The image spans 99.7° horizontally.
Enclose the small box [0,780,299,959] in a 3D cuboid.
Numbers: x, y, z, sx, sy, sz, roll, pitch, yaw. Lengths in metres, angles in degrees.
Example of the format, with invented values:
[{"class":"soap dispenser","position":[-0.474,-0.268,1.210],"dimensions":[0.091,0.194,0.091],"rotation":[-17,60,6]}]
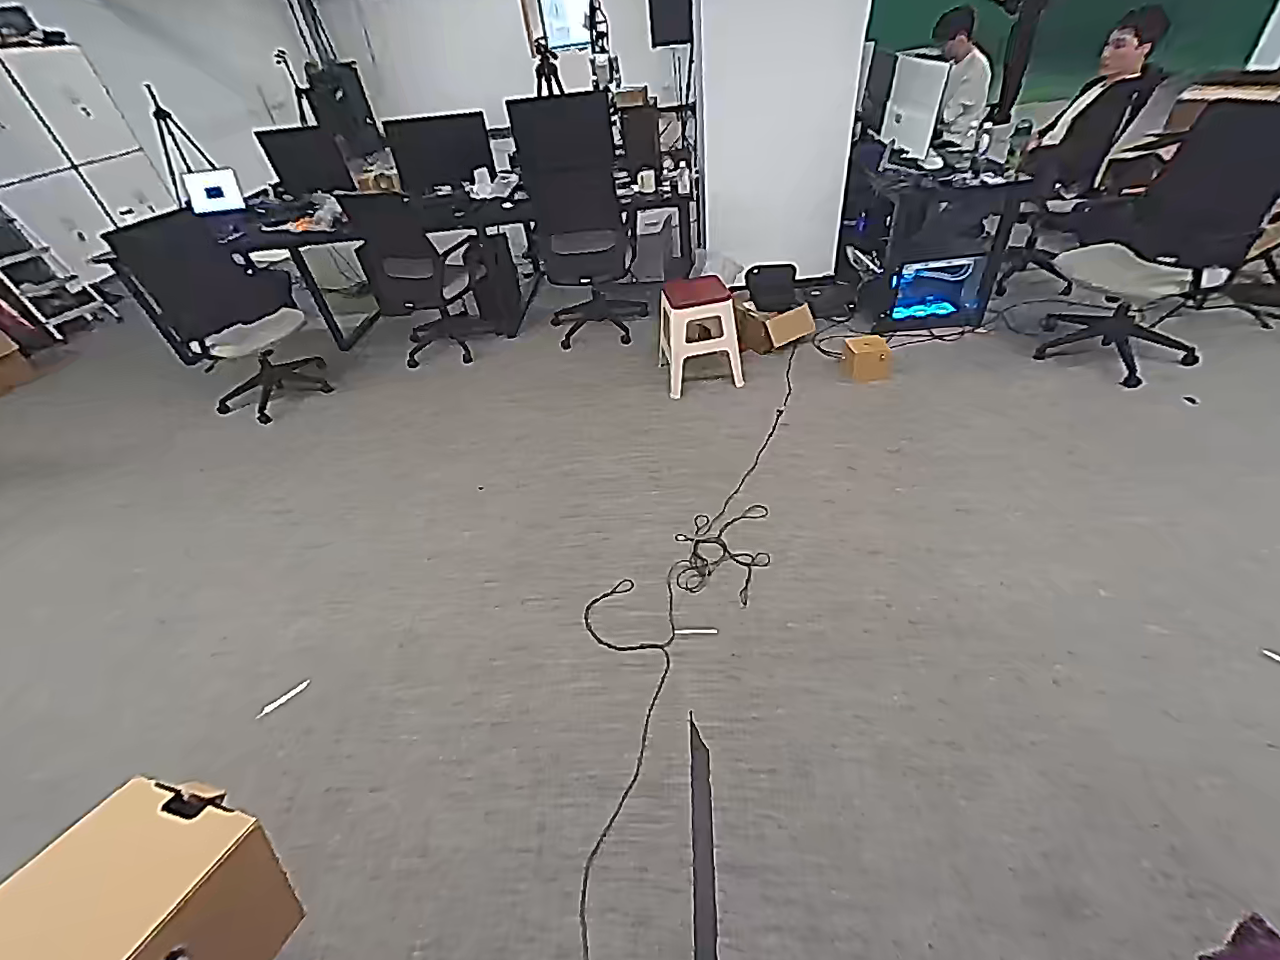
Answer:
[{"class":"small box","position":[-0.460,0.426,0.497],"dimensions":[0.168,0.176,0.179],"rotation":[7,26,15]}]
